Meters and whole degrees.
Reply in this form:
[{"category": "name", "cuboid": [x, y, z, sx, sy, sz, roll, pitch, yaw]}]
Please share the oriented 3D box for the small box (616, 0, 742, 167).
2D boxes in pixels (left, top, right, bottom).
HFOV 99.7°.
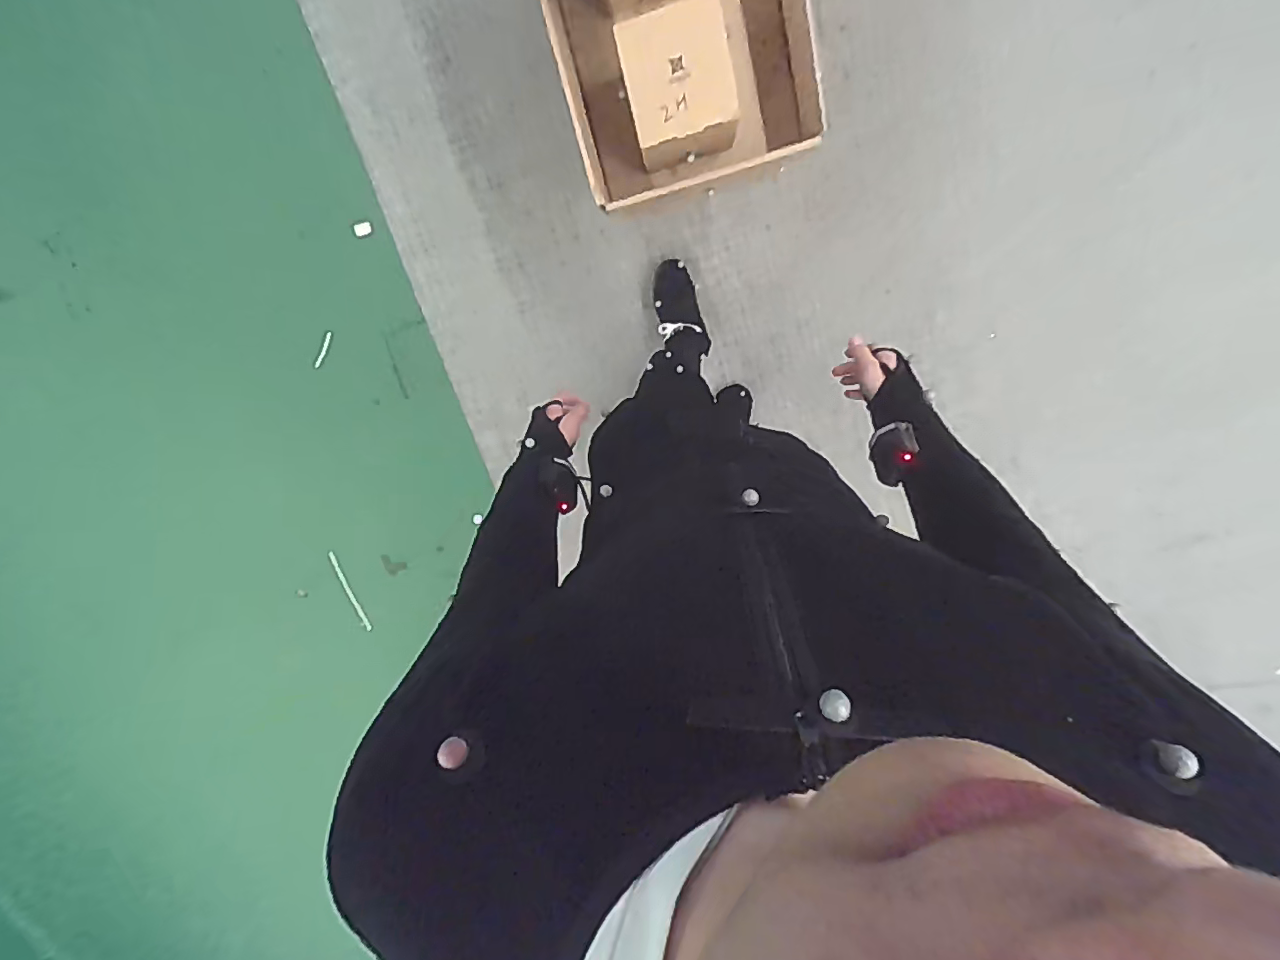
[{"category": "small box", "cuboid": [0.067, -0.659, 0.905, 0.168, 0.176, 0.179, -12, 105, 10]}]
